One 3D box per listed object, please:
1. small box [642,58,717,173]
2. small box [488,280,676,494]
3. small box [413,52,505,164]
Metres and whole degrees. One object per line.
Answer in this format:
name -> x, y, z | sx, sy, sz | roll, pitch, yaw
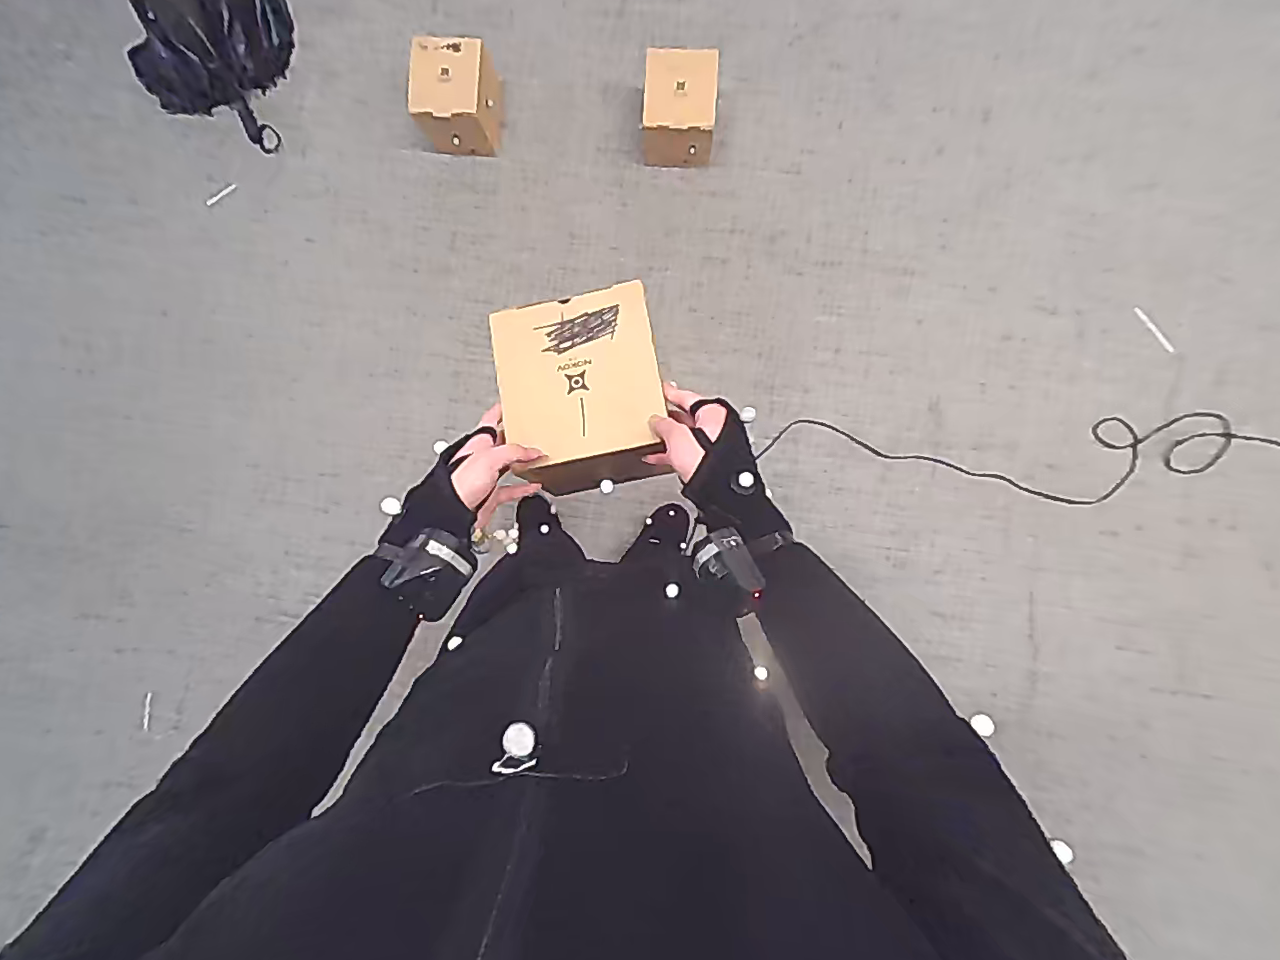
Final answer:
small box -> 0.095, -0.874, 1.310 | 0.168, 0.176, 0.179 | 2, 89, 3
small box -> -0.057, -0.093, 0.620 | 0.168, 0.176, 0.179 | -12, 78, 6
small box -> -0.444, -0.917, 1.348 | 0.168, 0.176, 0.179 | 4, 91, 3
